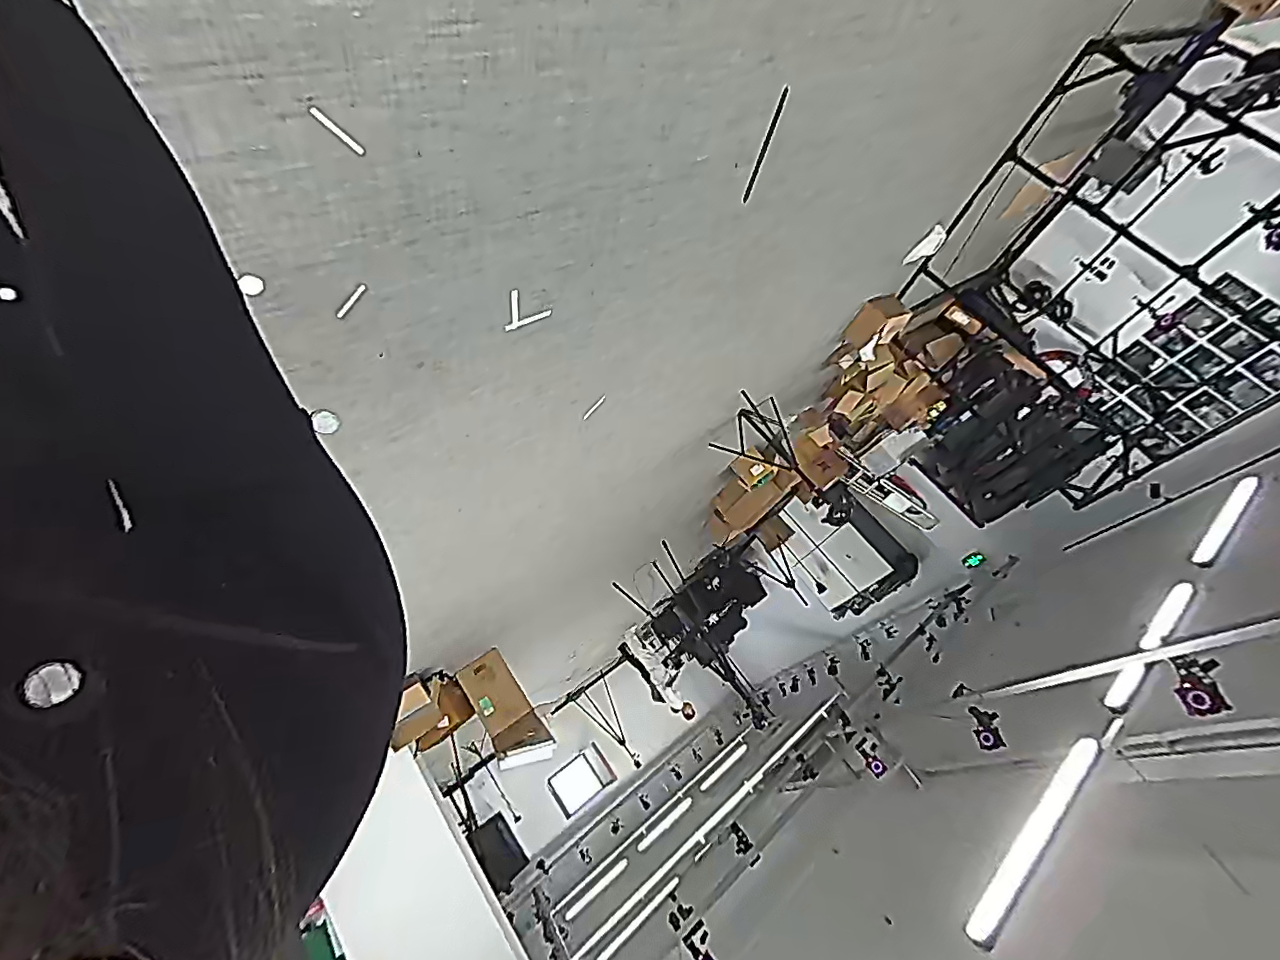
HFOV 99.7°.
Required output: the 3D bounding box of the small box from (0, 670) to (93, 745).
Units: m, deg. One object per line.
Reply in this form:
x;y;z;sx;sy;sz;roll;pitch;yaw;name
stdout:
-1.829;0.705;1.633;0.179;0.176;0.168;-28;158;-31;small box
